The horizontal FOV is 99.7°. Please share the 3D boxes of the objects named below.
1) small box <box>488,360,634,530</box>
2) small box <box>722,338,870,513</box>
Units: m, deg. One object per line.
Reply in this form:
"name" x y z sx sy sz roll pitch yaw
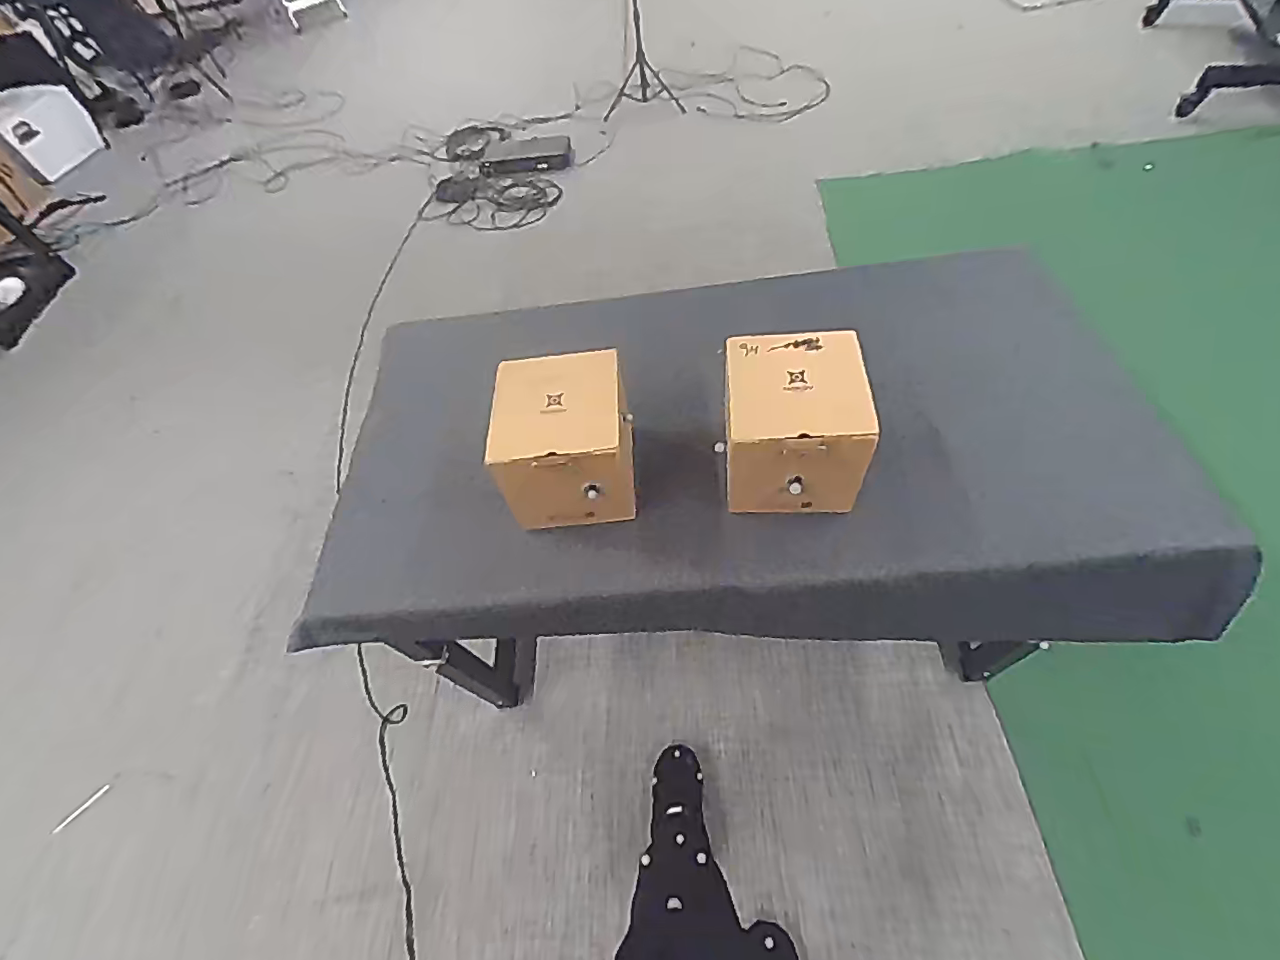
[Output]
"small box" -0.101 -0.040 0.767 0.168 0.176 0.179 -6 54 3
"small box" 0.198 -0.065 0.733 0.168 0.176 0.179 -2 57 8
